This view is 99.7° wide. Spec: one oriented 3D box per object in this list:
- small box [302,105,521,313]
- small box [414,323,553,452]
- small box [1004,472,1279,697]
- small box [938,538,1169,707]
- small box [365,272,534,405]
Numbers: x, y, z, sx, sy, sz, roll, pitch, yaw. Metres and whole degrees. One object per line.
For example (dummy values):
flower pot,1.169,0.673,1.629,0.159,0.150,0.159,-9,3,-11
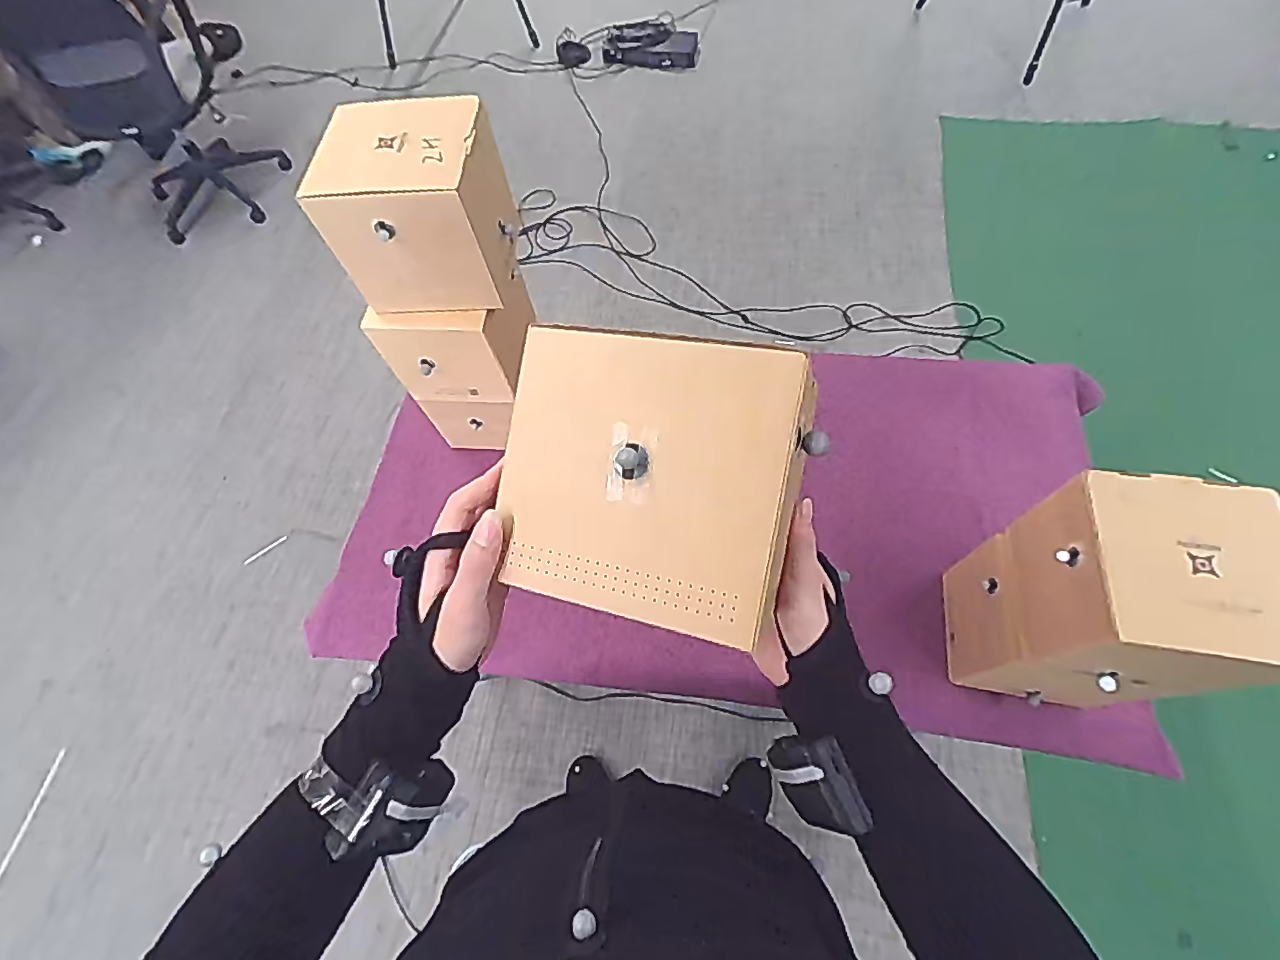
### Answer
small box,-0.261,-0.323,0.665,0.179,0.176,0.168,0,63,4
small box,-0.260,-0.159,0.948,0.179,0.176,0.168,2,63,5
small box,0.515,0.116,0.571,0.168,0.176,0.179,8,64,10
small box,0.523,0.194,0.714,0.179,0.176,0.168,9,63,8
small box,-0.265,-0.227,0.801,0.168,0.176,0.179,3,63,5
